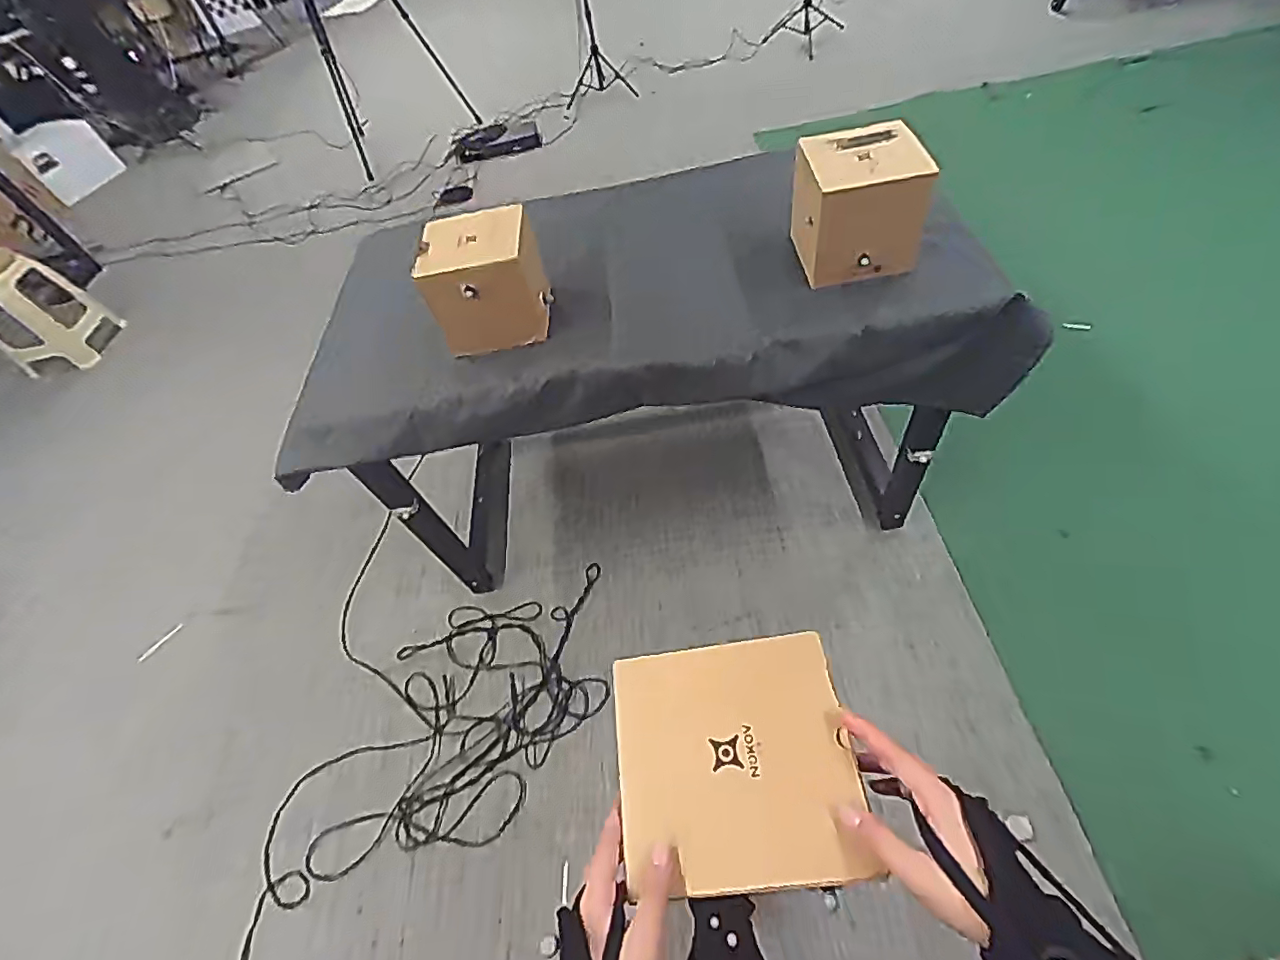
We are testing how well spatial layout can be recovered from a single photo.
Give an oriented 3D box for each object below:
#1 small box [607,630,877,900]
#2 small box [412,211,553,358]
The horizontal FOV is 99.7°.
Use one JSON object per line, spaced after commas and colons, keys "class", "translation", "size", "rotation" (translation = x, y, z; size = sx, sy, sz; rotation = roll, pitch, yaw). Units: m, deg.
{"class": "small box", "translation": [0.077, 0.247, 0.460], "size": [0.179, 0.176, 0.168], "rotation": [-9, 51, 6]}
{"class": "small box", "translation": [-0.261, -0.331, 0.938], "size": [0.179, 0.176, 0.168], "rotation": [-8, 54, 4]}
